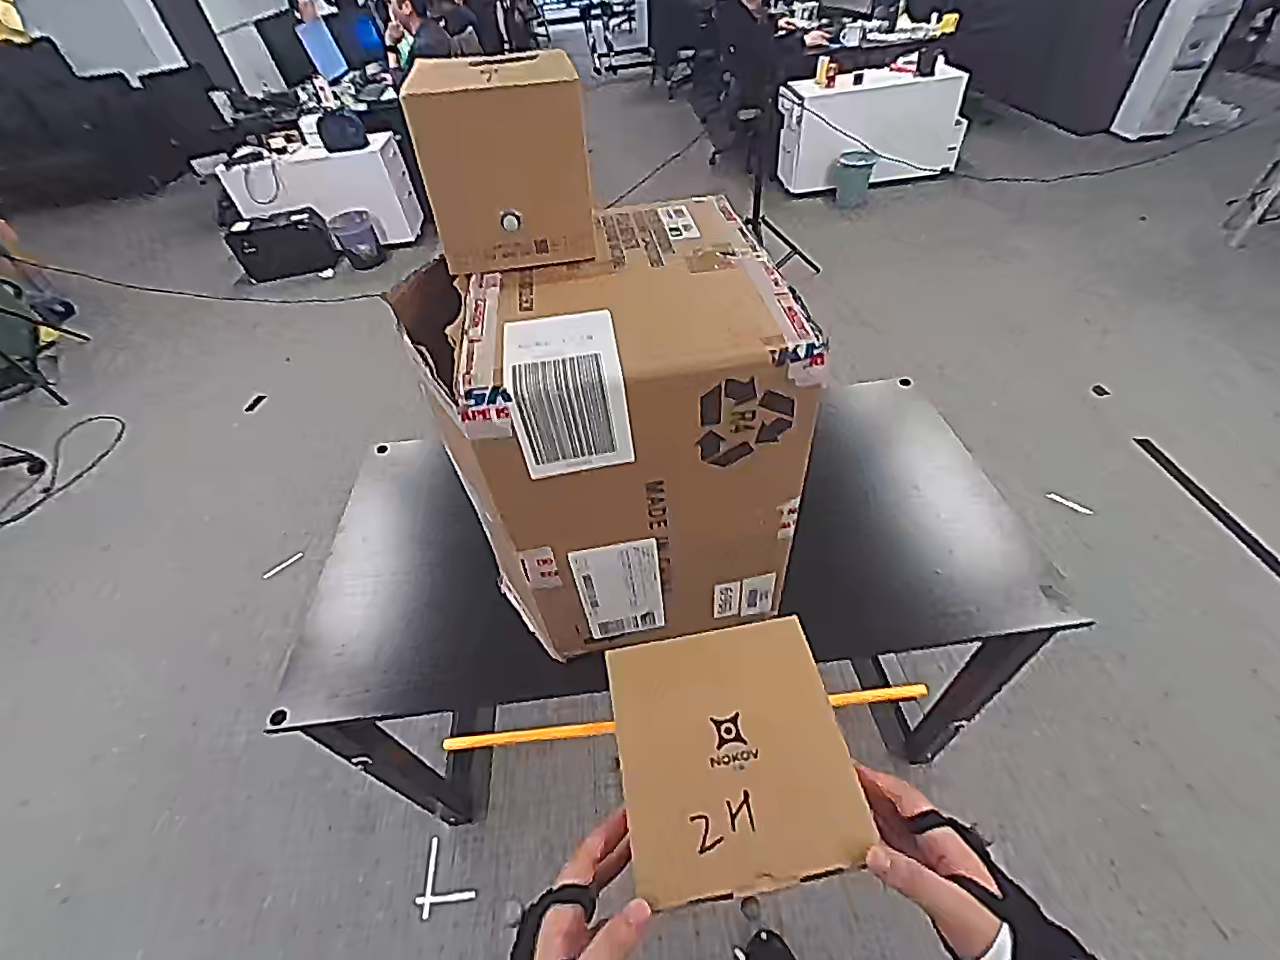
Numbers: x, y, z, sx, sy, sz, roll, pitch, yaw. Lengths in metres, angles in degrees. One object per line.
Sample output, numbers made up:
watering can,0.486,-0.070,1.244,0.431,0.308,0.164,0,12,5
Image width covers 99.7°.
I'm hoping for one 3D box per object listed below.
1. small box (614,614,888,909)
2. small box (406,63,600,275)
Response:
small box,0.074,0.242,0.462,0.168,0.176,0.179,-10,51,-3
small box,-0.141,-0.349,0.606,0.168,0.176,0.179,-9,45,-5
